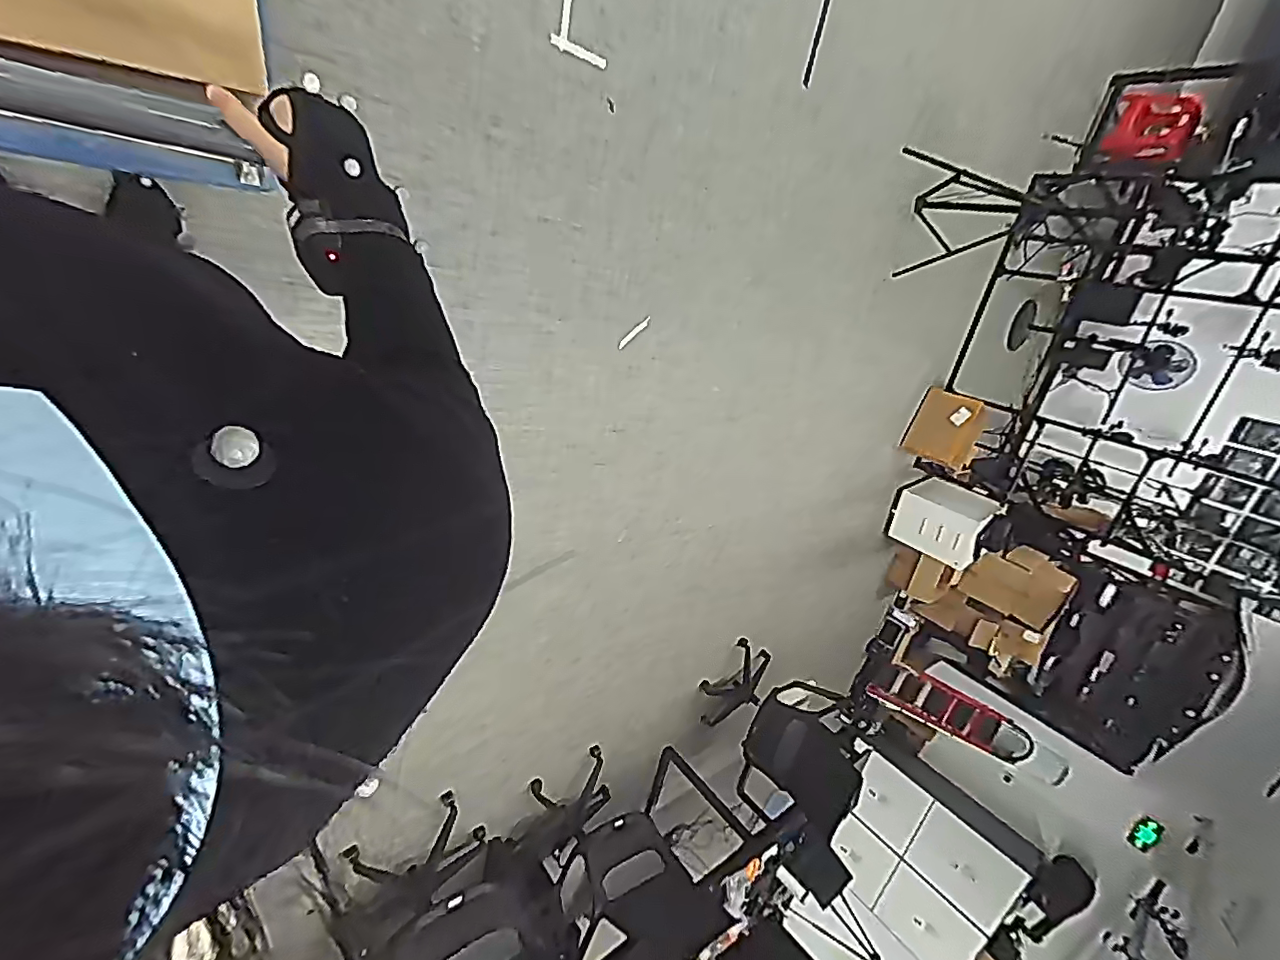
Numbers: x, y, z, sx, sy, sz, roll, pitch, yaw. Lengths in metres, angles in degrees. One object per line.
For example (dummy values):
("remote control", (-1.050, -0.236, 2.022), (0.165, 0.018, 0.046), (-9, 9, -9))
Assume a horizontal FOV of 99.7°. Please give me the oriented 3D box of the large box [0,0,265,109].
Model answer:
("large box", (-0.744, -0.680, 0.651), (0.408, 0.320, 0.320), (-15, 123, -40))
